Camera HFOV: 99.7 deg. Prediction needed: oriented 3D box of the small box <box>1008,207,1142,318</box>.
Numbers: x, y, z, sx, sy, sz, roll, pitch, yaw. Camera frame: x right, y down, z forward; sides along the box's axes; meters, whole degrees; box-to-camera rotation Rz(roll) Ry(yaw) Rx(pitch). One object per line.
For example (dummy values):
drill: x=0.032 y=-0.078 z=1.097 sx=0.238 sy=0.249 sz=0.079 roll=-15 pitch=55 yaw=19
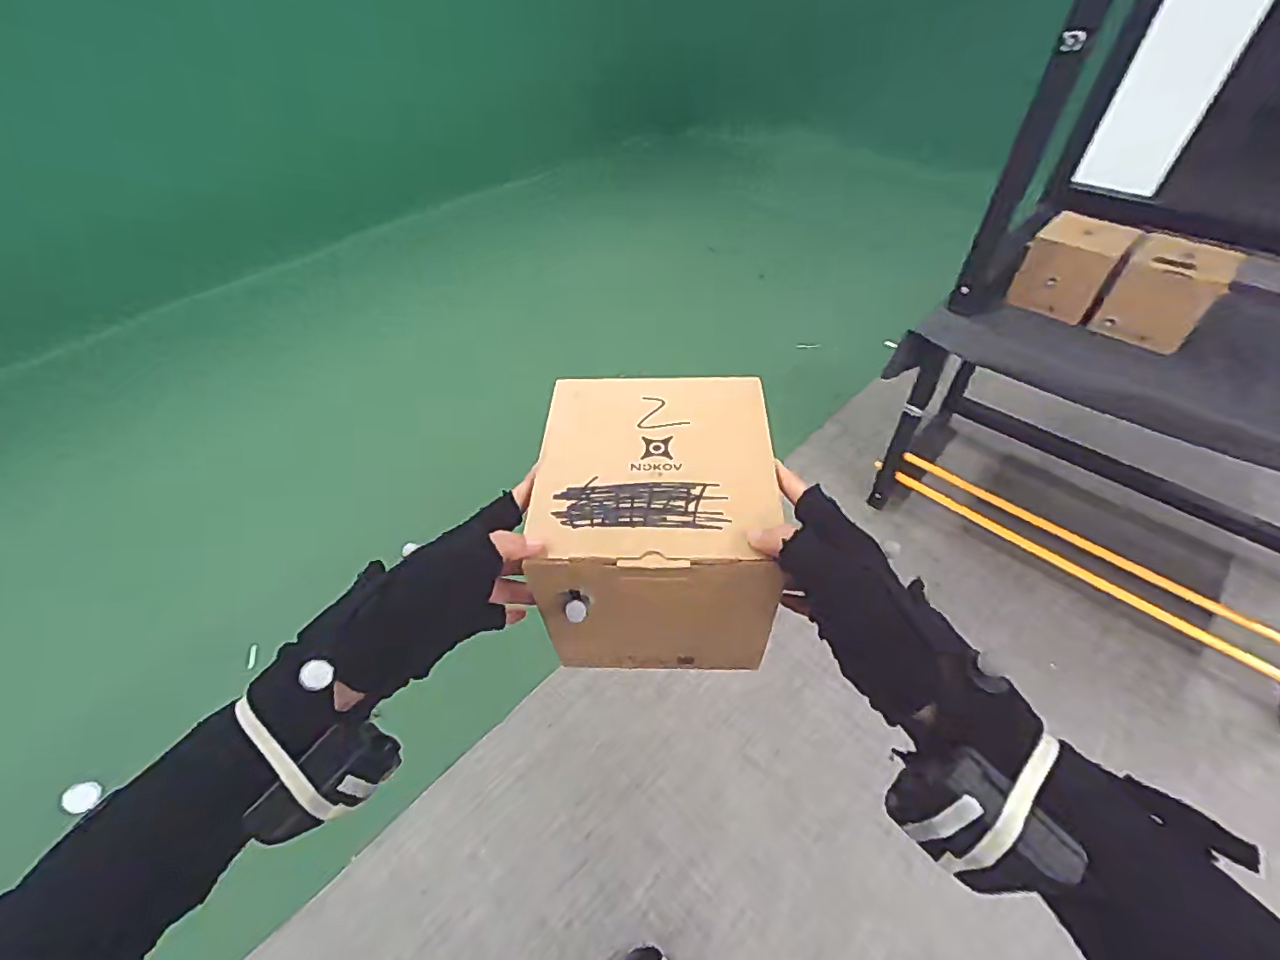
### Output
small box: x=1.009 y=-0.508 z=1.270 sx=0.179 sy=0.176 sz=0.168 roll=-37 pitch=57 yaw=-26
